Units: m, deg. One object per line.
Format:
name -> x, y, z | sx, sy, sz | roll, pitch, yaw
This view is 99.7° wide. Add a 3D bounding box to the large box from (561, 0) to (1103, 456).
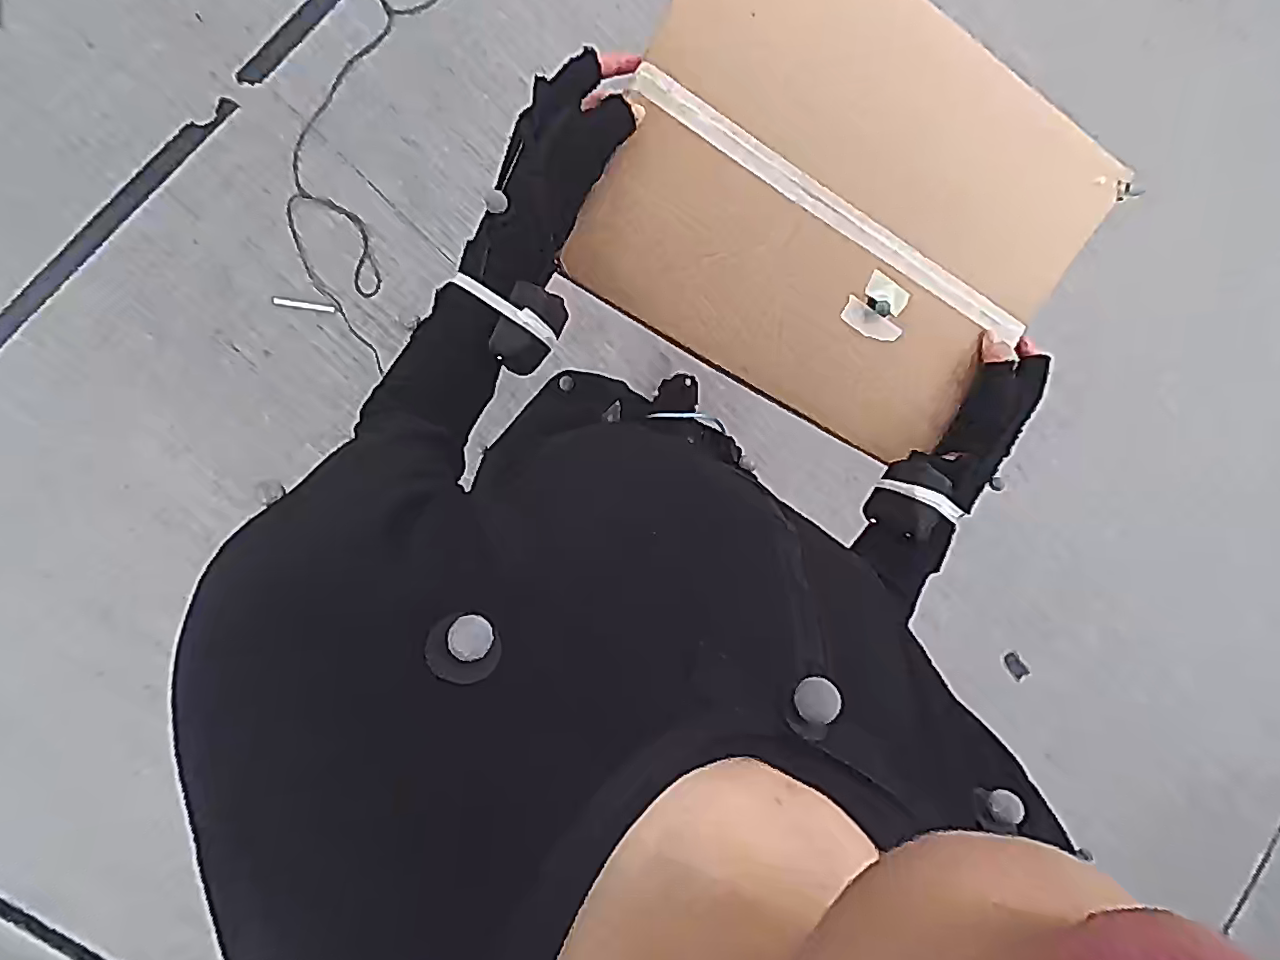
large box -> 0.157, -0.281, 0.614 | 0.408, 0.320, 0.320 | 26, 105, -14
